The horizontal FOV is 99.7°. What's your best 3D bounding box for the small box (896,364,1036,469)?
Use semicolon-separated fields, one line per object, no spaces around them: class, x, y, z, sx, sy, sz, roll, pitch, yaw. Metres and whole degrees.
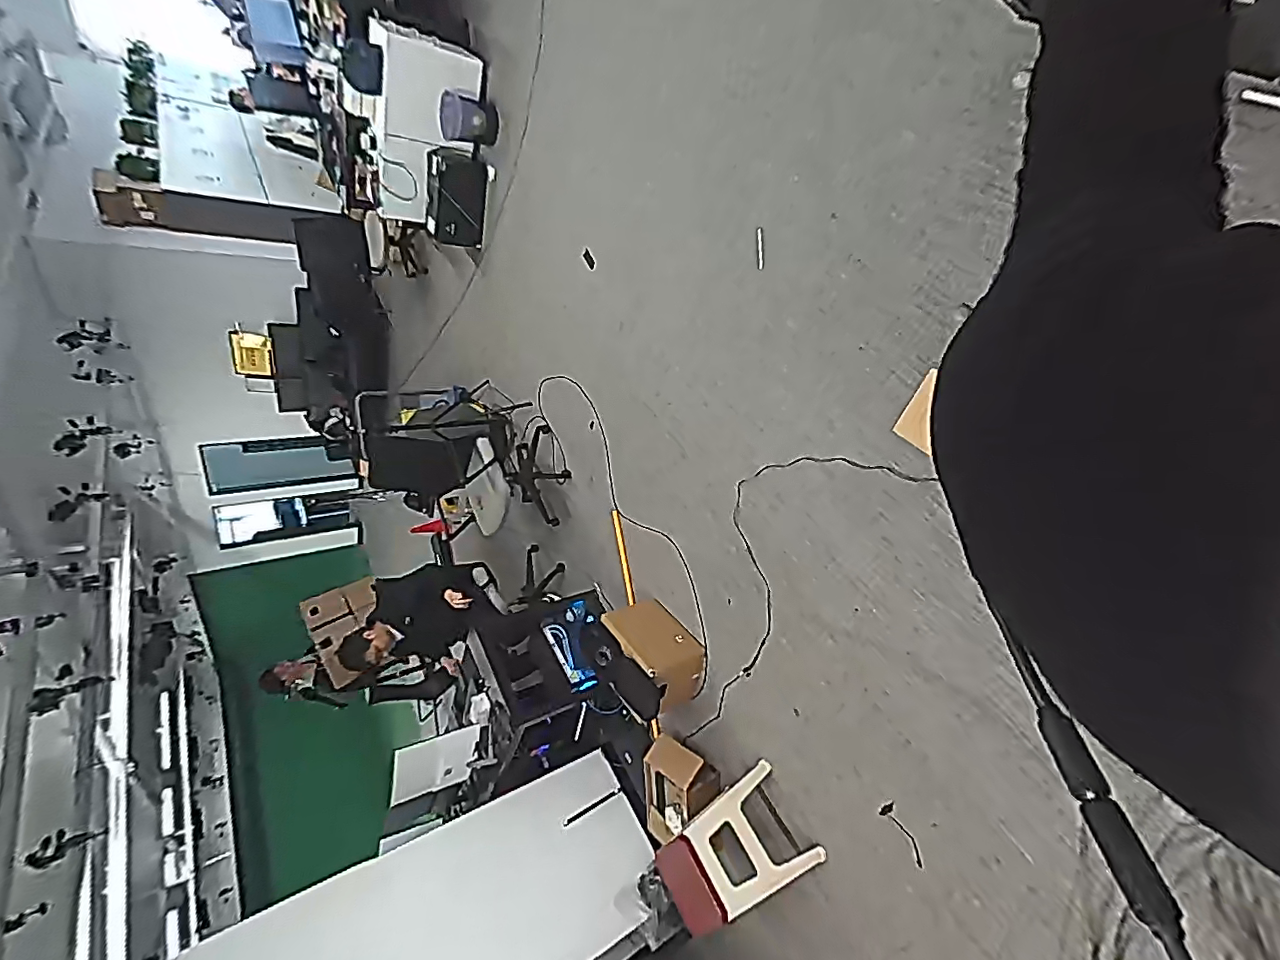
small box;0.724;-0.147;1.201;0.179;0.176;0.168;50;134;37
